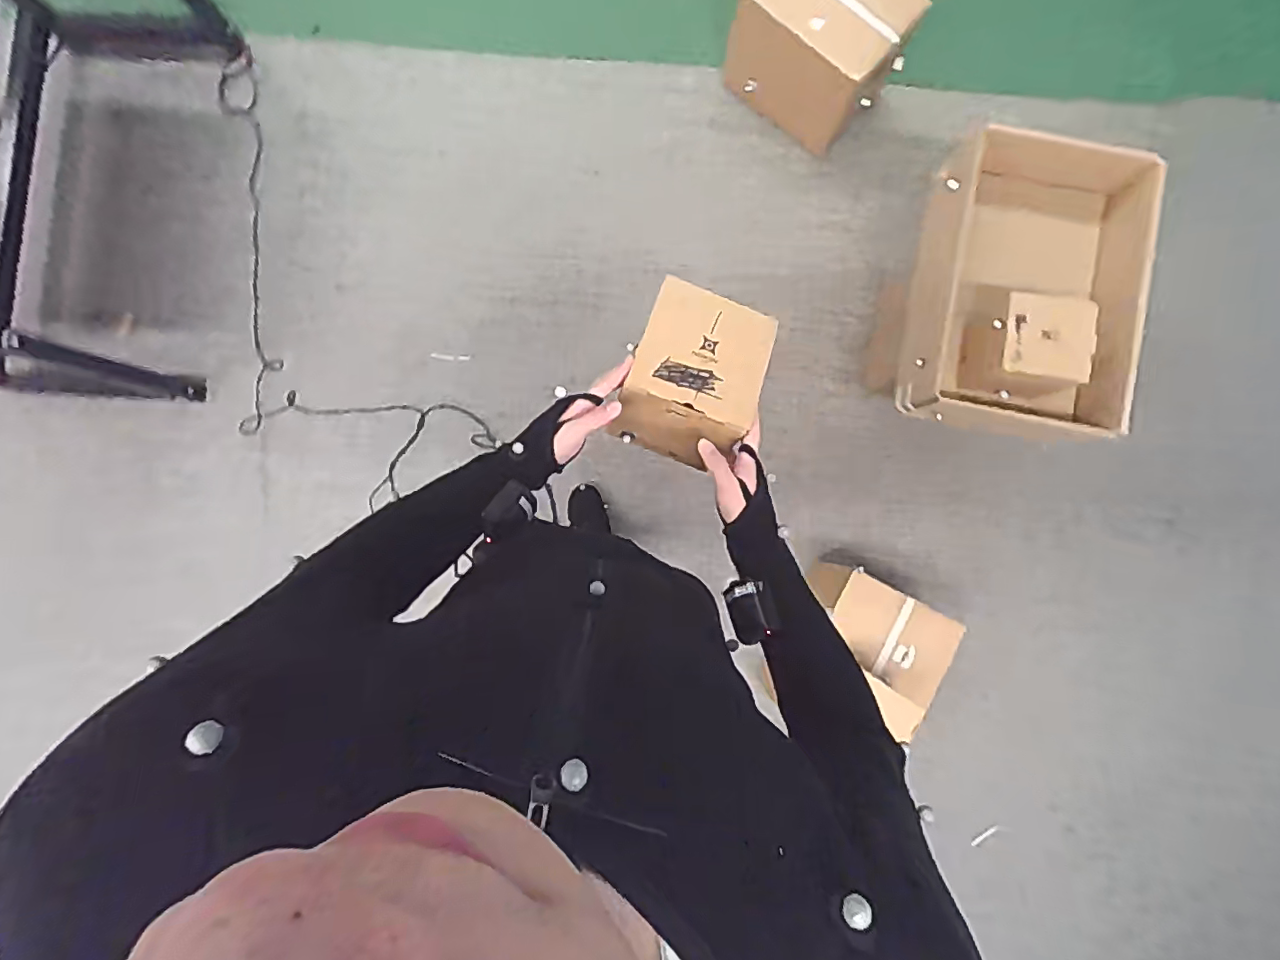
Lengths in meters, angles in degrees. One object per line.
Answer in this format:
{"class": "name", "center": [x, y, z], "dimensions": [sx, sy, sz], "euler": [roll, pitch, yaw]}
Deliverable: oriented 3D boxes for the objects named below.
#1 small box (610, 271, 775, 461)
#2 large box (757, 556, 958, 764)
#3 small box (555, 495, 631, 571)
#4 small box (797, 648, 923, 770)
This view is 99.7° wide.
{"class": "small box", "center": [0.063, -0.146, 0.758], "dimensions": [0.168, 0.176, 0.179], "euler": [20, 70, -6]}
{"class": "large box", "center": [0.568, 0.463, 1.481], "dimensions": [0.320, 0.320, 0.408], "euler": [28, 86, 0]}
{"class": "small box", "center": [-0.131, 0.158, 1.595], "dimensions": [0.168, 0.176, 0.179], "euler": [18, 85, 6]}
{"class": "small box", "center": [0.492, 0.508, 1.233], "dimensions": [0.179, 0.176, 0.168], "euler": [34, 87, 3]}
